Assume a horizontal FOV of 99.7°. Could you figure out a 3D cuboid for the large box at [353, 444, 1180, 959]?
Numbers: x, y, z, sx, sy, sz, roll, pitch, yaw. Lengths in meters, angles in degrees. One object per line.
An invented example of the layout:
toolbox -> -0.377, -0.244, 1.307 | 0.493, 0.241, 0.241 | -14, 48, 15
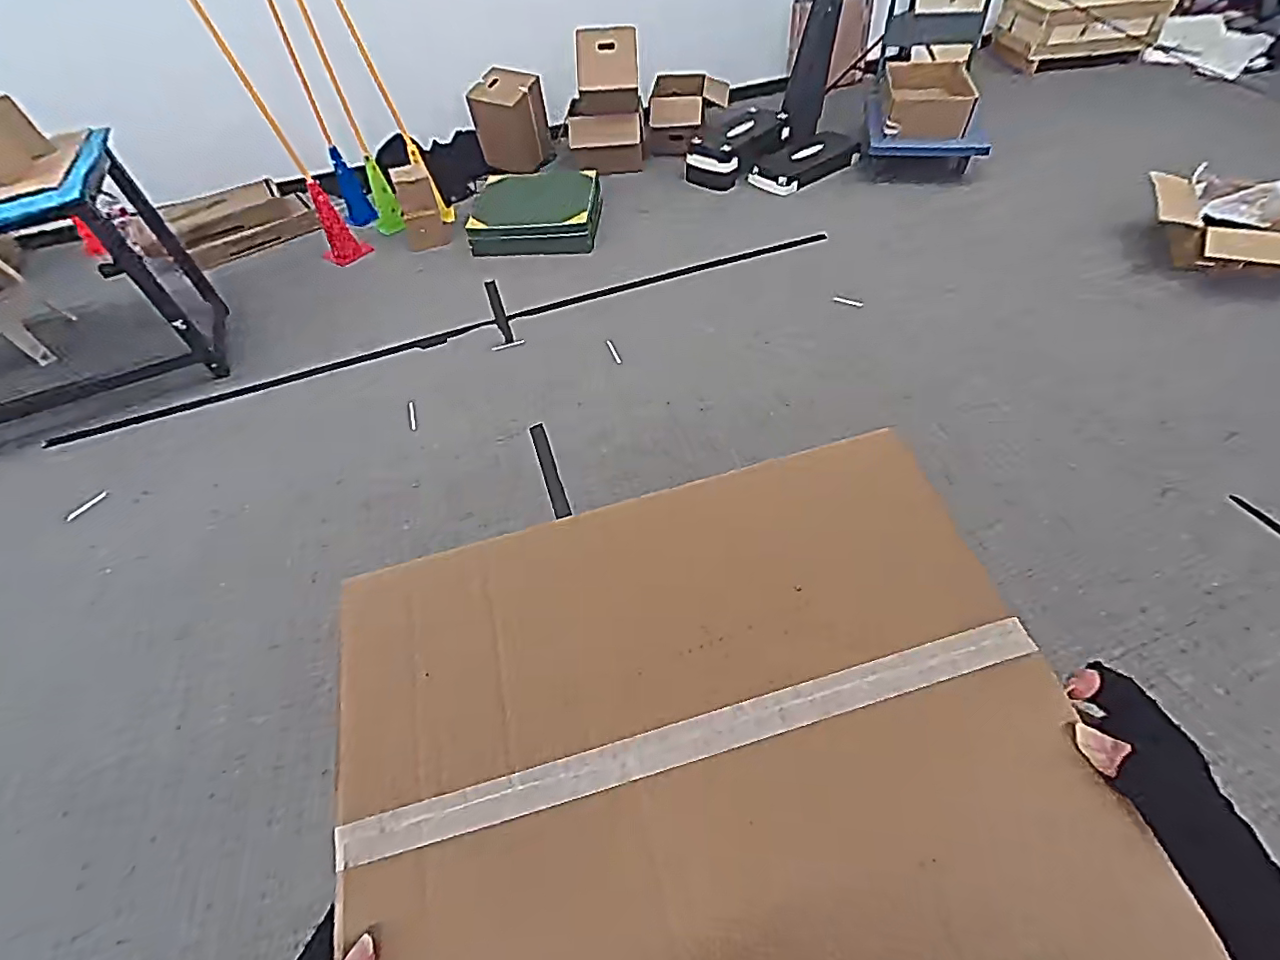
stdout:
large box -> 0.045, 0.224, 0.446 | 0.408, 0.320, 0.320 | -16, 60, -3
